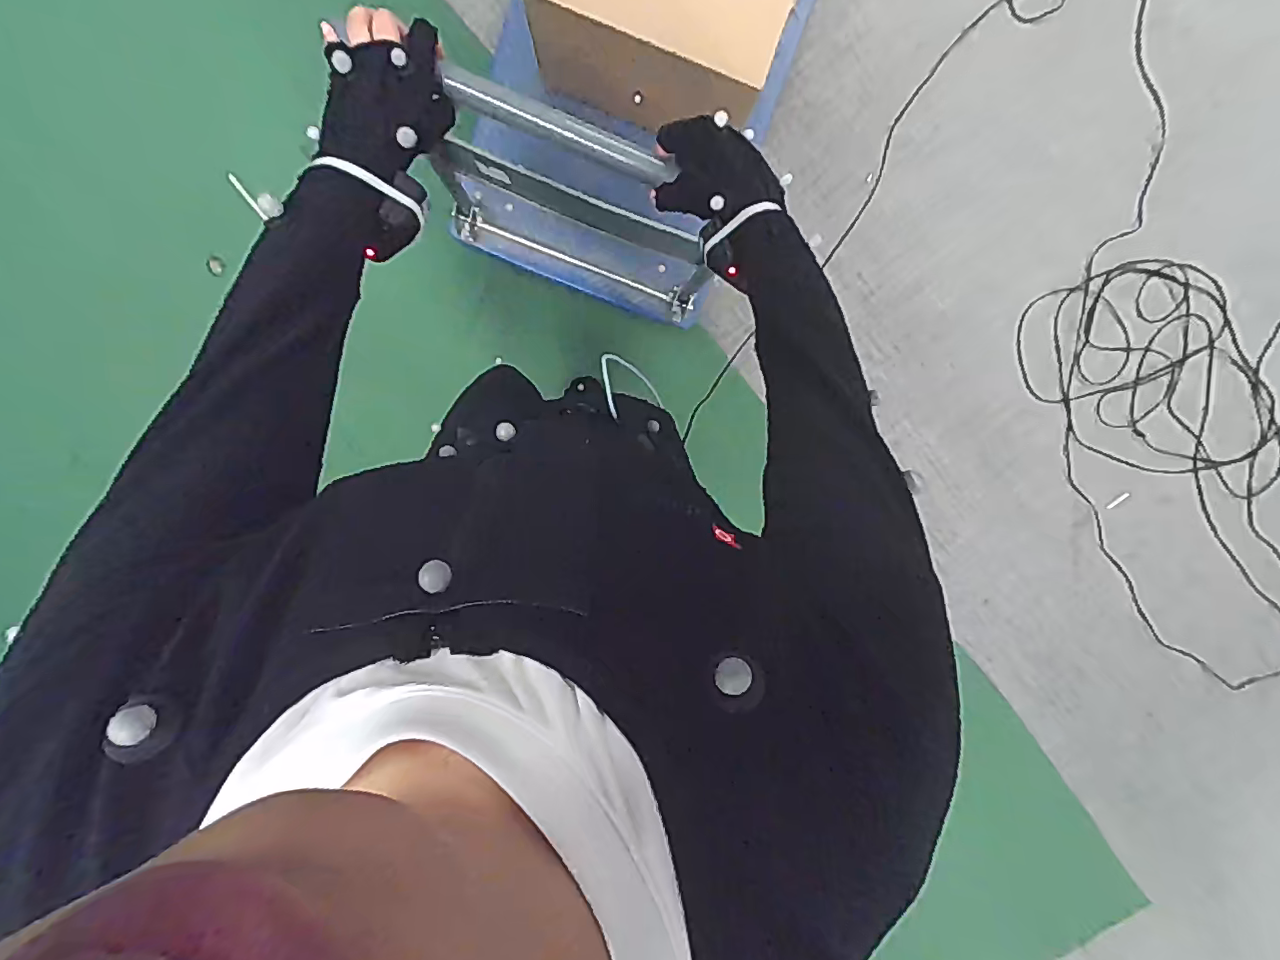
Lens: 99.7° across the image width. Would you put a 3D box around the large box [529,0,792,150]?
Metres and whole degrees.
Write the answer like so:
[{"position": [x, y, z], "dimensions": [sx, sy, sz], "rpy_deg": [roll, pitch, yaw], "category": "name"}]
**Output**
[{"position": [0.054, -0.868, 0.970], "dimensions": [0.408, 0.320, 0.320], "rpy_deg": [18, 100, -6], "category": "large box"}]
